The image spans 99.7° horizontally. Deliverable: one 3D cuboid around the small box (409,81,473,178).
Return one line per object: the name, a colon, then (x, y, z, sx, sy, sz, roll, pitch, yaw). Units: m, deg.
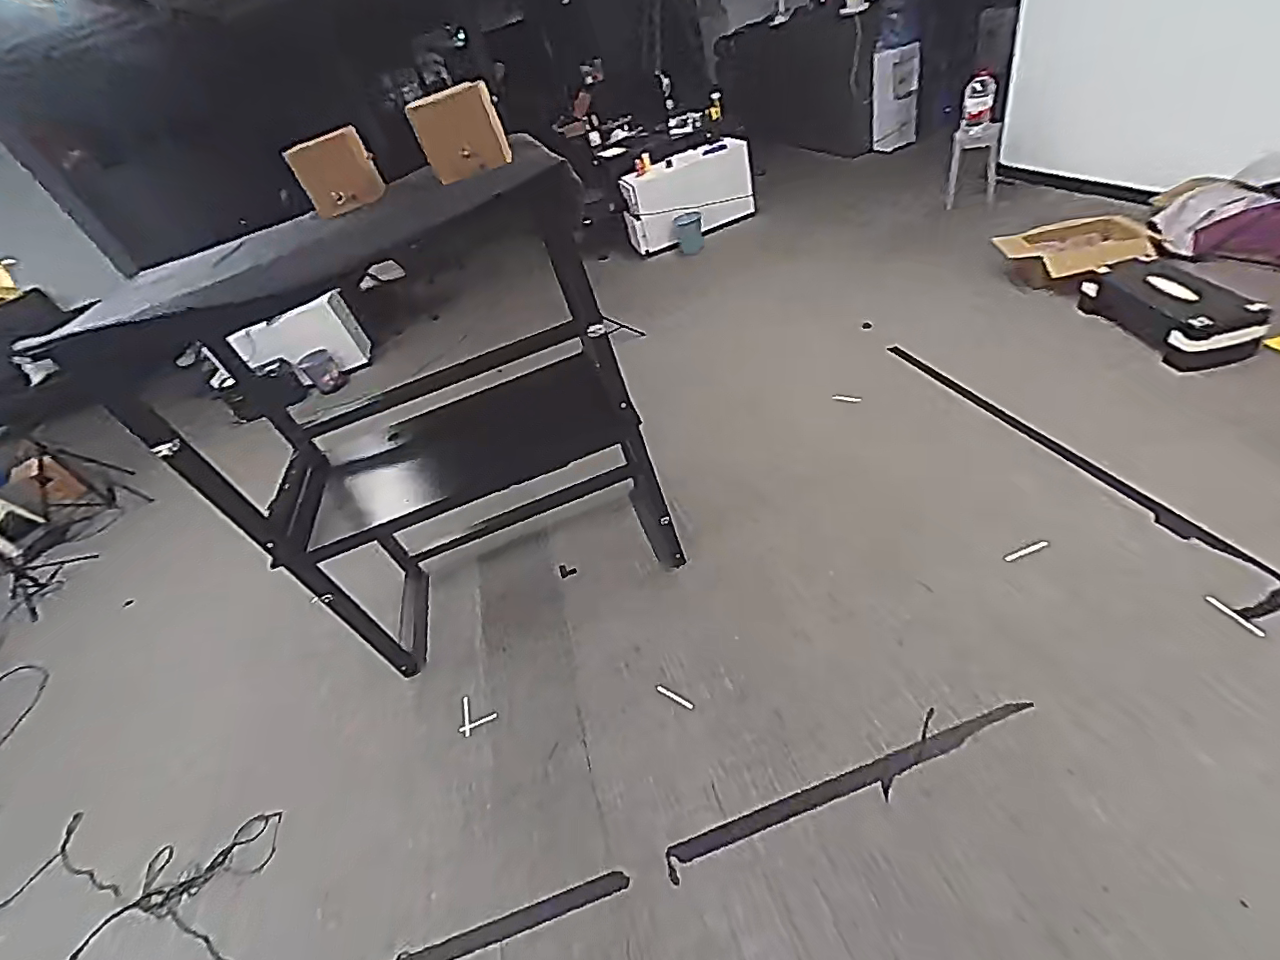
small box: (-0.493, -0.939, 1.455, 0.168, 0.176, 0.179, -18, 41, 2)

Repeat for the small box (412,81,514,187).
small box: (-0.413, -0.825, 1.294, 0.168, 0.176, 0.179, -18, 40, 4)

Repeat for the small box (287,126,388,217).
small box: (-0.817, -0.843, 1.481, 0.168, 0.176, 0.179, -22, 40, -2)
